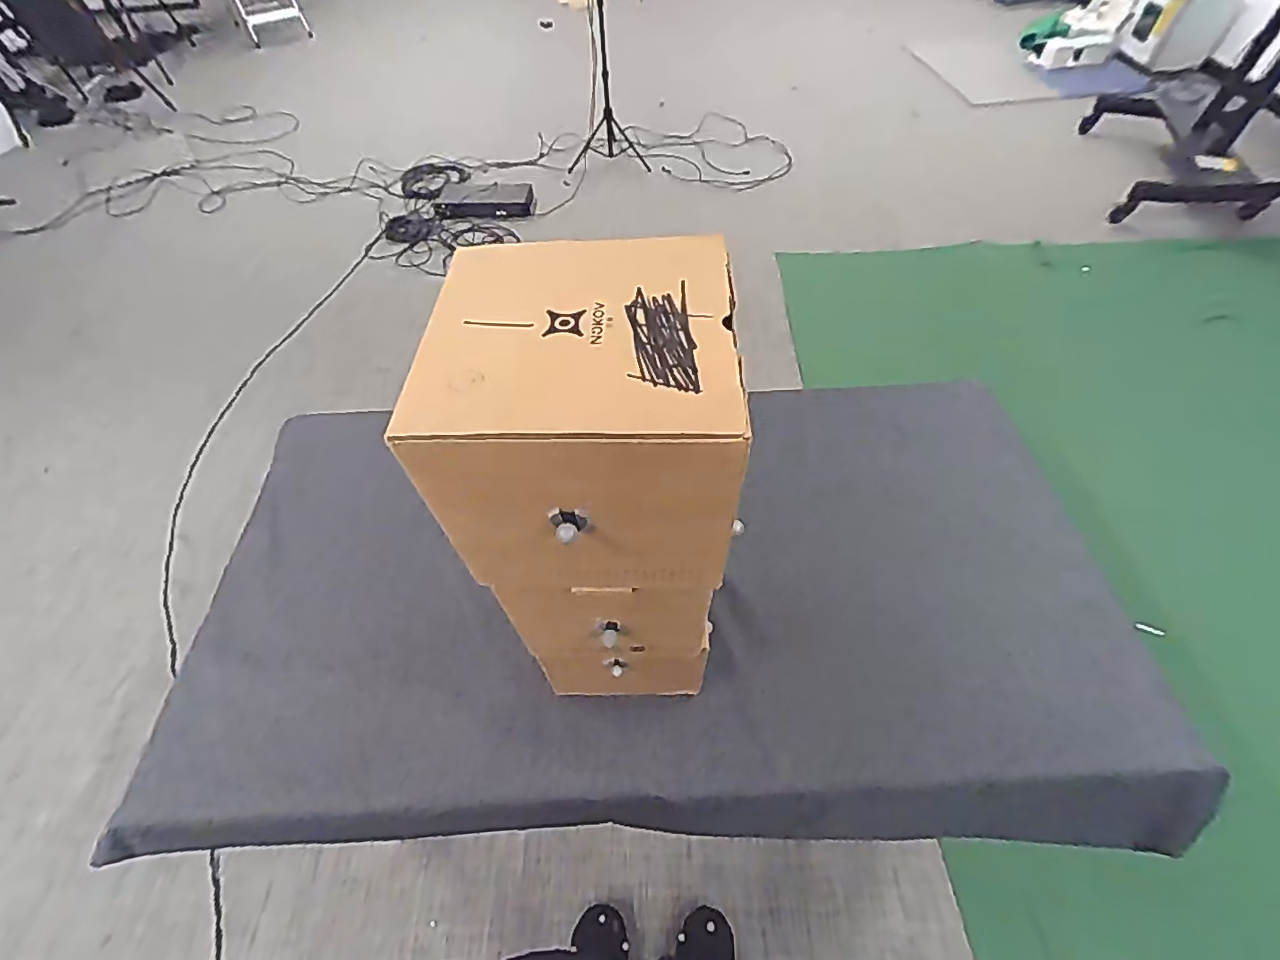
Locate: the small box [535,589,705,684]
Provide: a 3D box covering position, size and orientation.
[{"bbox_3d":[-0.018,0.142,0.653,0.179,0.176,0.168,-1,55,0],"label":"small box"}]

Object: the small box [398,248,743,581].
[{"bbox_3d":[-0.031,-0.038,0.379,0.179,0.176,0.168,0,54,3],"label":"small box"}]

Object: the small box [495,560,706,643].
[{"bbox_3d":[-0.026,0.049,0.519,0.168,0.176,0.179,-1,55,1],"label":"small box"}]
